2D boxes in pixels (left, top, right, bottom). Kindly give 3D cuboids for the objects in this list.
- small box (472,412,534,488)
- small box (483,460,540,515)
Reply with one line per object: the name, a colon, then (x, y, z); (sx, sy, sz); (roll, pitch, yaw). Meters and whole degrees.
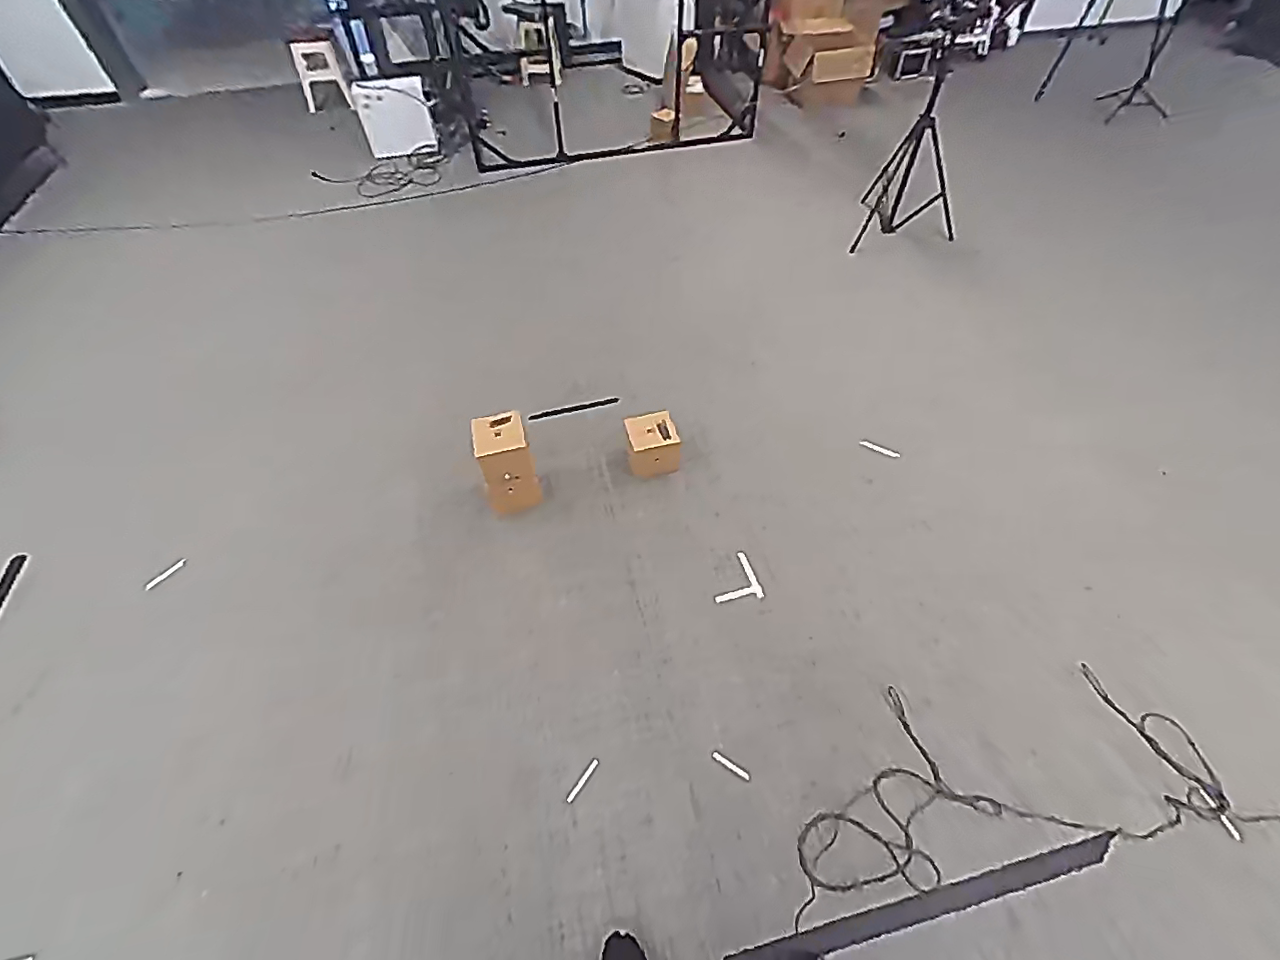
small box: (-0.464, -0.101, 1.837); (0.168, 0.176, 0.179); (-13, 54, -8)
small box: (-0.465, 0.003, 1.965); (0.179, 0.176, 0.168); (-14, 53, -8)
